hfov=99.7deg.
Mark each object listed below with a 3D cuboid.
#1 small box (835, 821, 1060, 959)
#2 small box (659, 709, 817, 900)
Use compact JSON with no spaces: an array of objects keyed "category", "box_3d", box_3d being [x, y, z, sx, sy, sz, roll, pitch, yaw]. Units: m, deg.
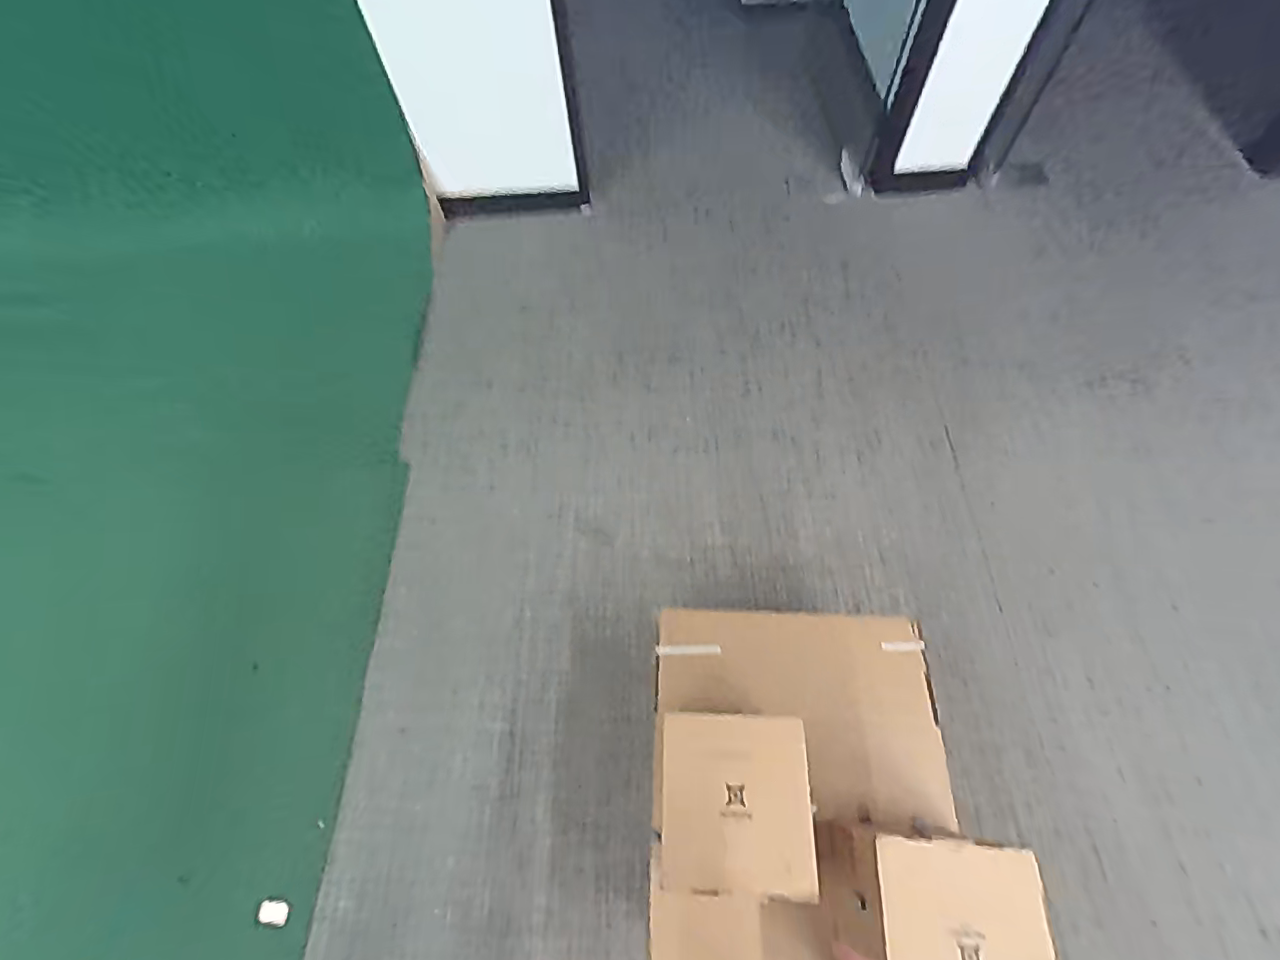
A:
[{"category":"small box","box_3d":[0.326,0.490,0.599,0.168,0.176,0.179,3,61,5]},{"category":"small box","box_3d":[0.112,0.391,0.670,0.168,0.176,0.179,1,60,4]}]
